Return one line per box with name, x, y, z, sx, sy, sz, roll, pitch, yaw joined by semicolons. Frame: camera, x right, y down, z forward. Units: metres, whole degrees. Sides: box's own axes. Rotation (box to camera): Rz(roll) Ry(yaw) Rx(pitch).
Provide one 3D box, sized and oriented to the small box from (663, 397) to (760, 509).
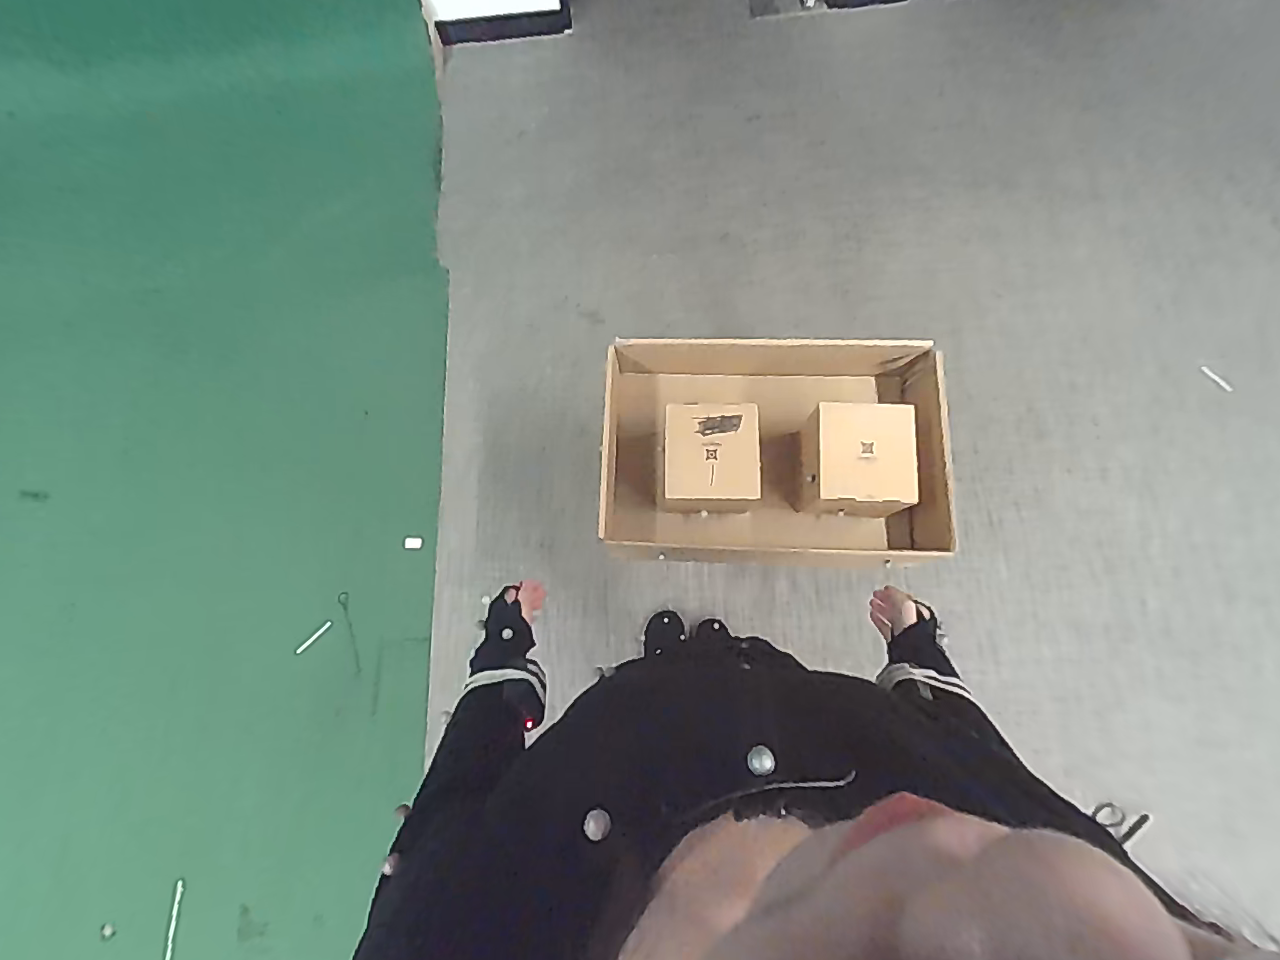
small box;0.128;-0.045;1.015;0.168;0.176;0.179;0;79;3
